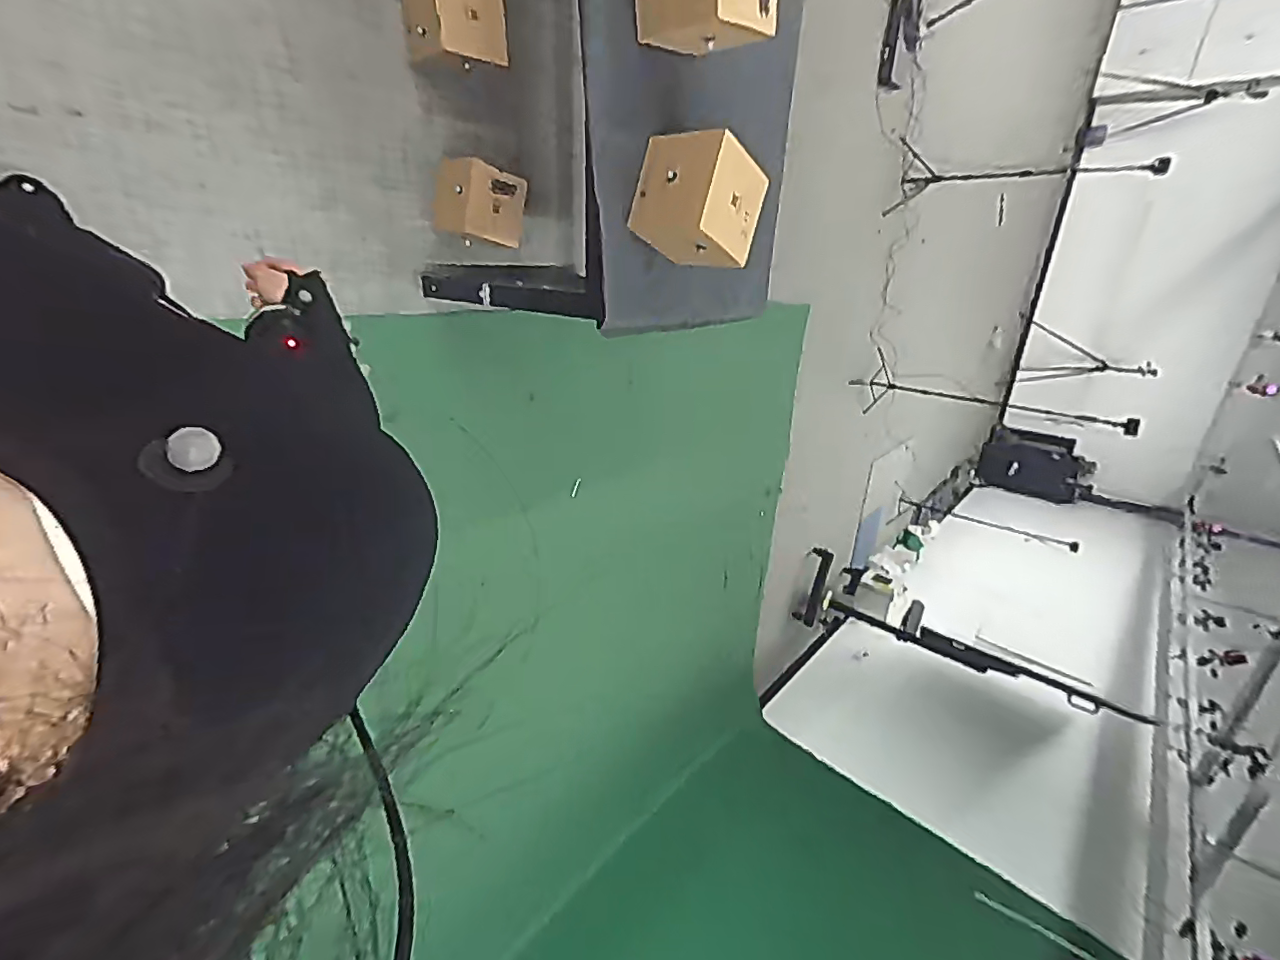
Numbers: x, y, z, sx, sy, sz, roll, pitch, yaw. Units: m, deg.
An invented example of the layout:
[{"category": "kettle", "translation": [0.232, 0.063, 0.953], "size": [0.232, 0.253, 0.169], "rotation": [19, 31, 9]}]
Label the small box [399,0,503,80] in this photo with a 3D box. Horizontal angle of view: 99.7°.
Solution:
[{"category": "small box", "translation": [-0.451, -1.075, 1.282], "size": [0.179, 0.176, 0.168], "rotation": [-24, 124, -43]}]

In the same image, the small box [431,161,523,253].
[{"category": "small box", "translation": [-0.440, -0.725, 1.450], "size": [0.168, 0.176, 0.179], "rotation": [-3, 110, -49]}]

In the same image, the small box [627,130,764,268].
[{"category": "small box", "translation": [0.101, -0.510, 1.008], "size": [0.179, 0.176, 0.168], "rotation": [8, 100, -54]}]
